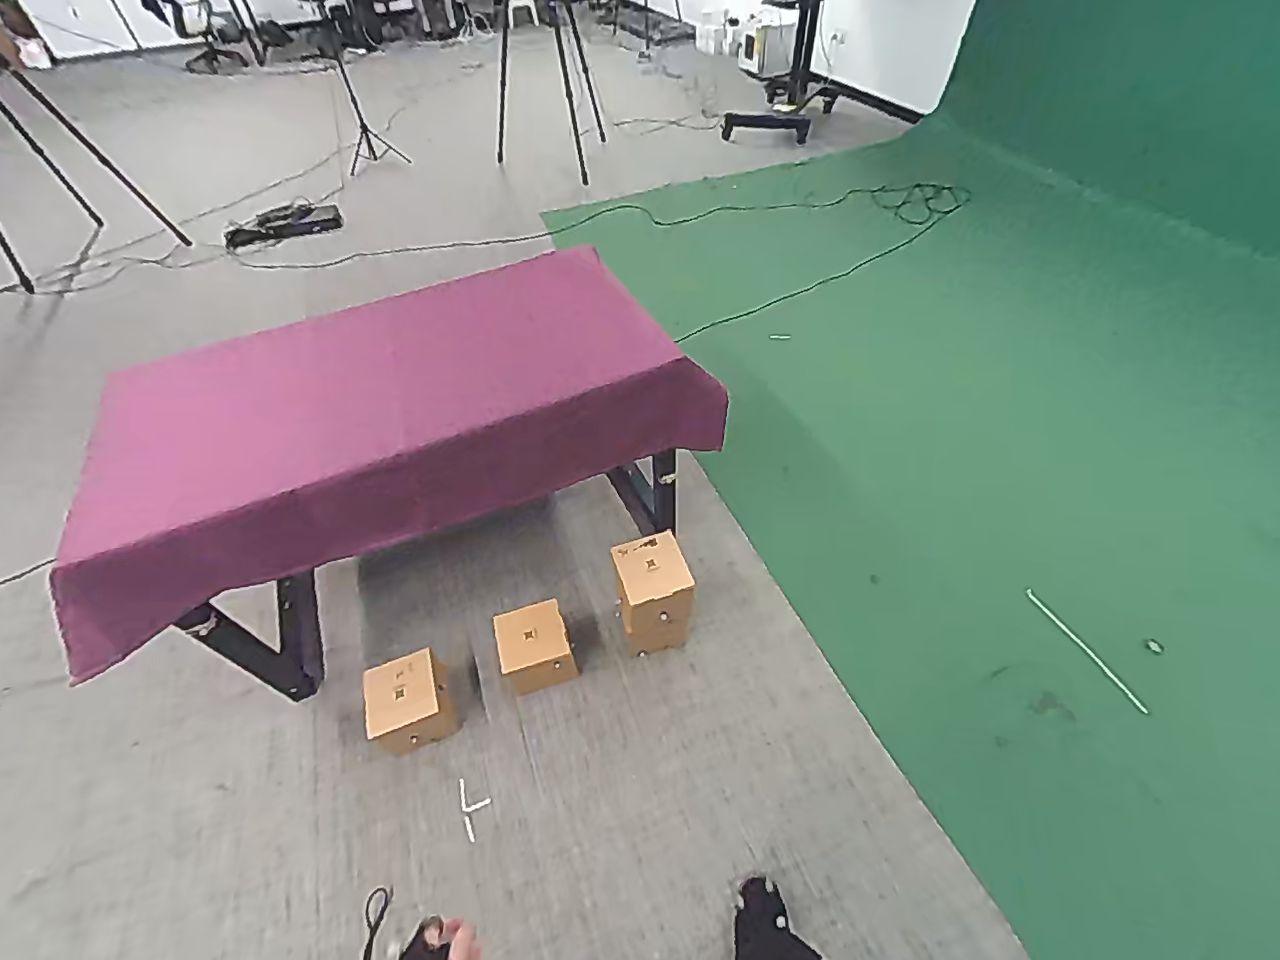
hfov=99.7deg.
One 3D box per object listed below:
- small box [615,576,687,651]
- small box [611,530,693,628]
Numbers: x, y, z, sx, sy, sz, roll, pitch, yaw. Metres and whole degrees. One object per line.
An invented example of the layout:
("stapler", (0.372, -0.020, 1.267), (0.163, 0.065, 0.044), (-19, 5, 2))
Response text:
("small box", (0.033, 0.364, 1.522), (0.168, 0.176, 0.179), (-12, 49, -7))
("small box", (0.032, 0.262, 1.393), (0.168, 0.176, 0.179), (-15, 52, -9))
